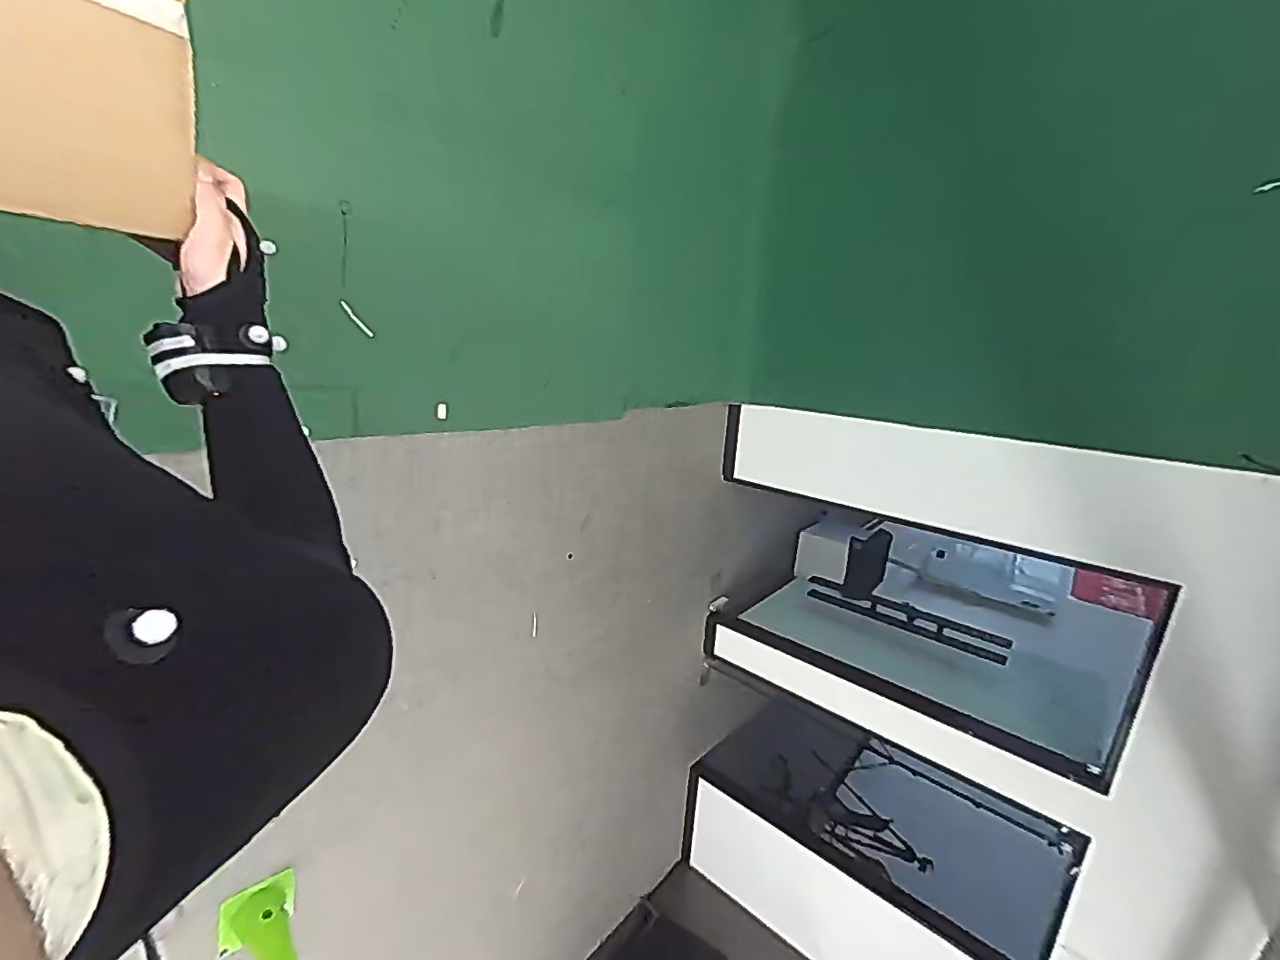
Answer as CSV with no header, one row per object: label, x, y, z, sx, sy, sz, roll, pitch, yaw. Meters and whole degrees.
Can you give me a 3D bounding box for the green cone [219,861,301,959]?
green cone,-1.072,1.367,1.596,0.200,0.368,0.202,-4,104,-51
